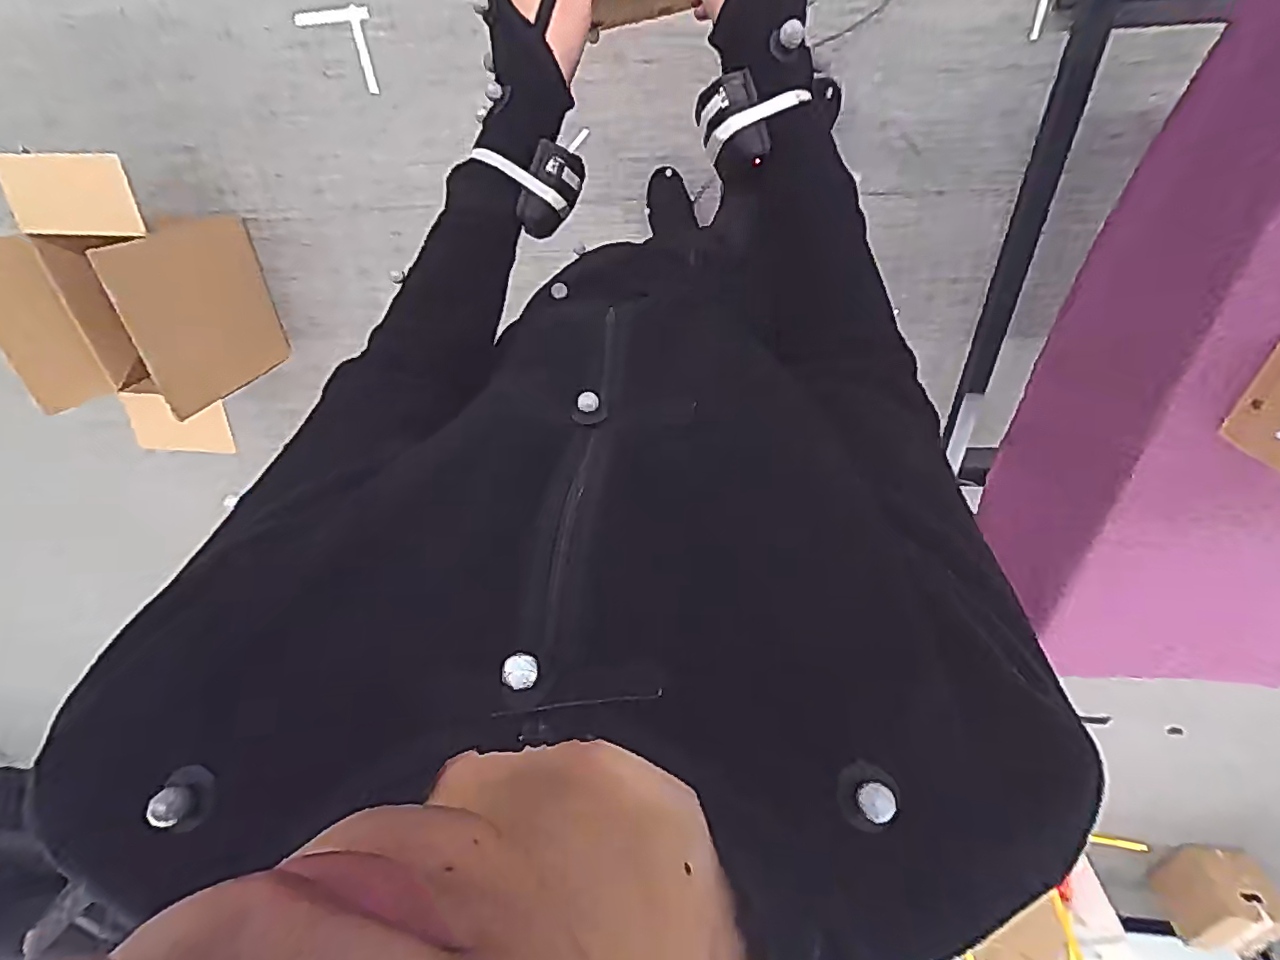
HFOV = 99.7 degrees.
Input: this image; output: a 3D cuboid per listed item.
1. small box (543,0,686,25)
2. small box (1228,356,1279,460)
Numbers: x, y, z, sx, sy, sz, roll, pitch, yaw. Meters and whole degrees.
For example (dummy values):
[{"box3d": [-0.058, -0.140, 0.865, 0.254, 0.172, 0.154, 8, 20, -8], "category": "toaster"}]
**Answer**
[{"box3d": [-0.019, -0.495, 0.423, 0.168, 0.176, 0.179, -10, 116, 6], "category": "small box"}, {"box3d": [0.941, -0.091, 0.688, 0.179, 0.176, 0.168, 4, 125, 2], "category": "small box"}]
